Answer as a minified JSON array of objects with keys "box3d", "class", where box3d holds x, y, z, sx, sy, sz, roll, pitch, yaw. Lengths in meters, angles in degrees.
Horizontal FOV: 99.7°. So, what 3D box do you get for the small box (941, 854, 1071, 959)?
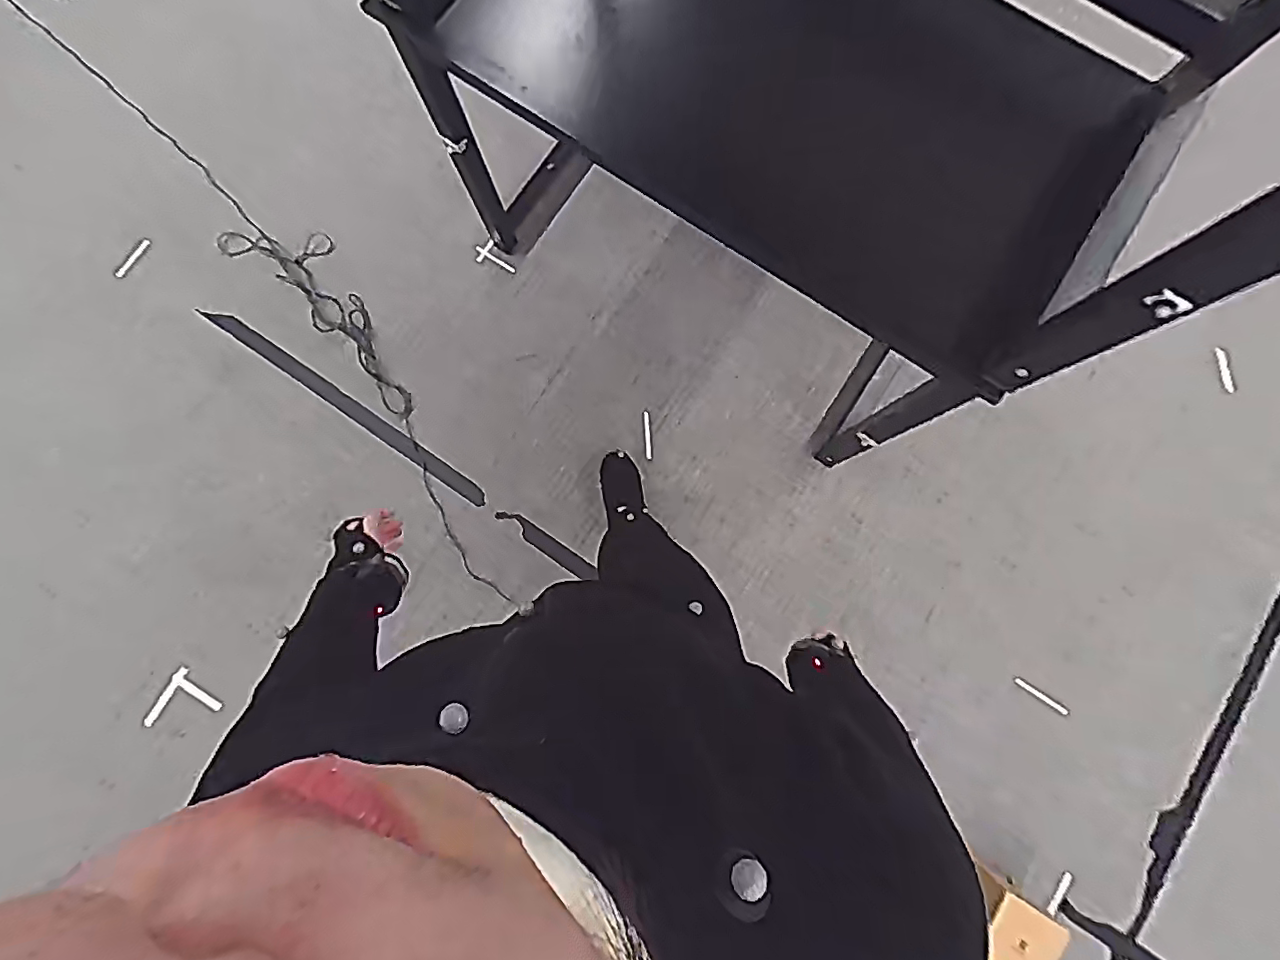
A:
[{"box3d":[0.862,1.060,1.296,0.168,0.176,0.179,32,84,4],"class":"small box"}]
